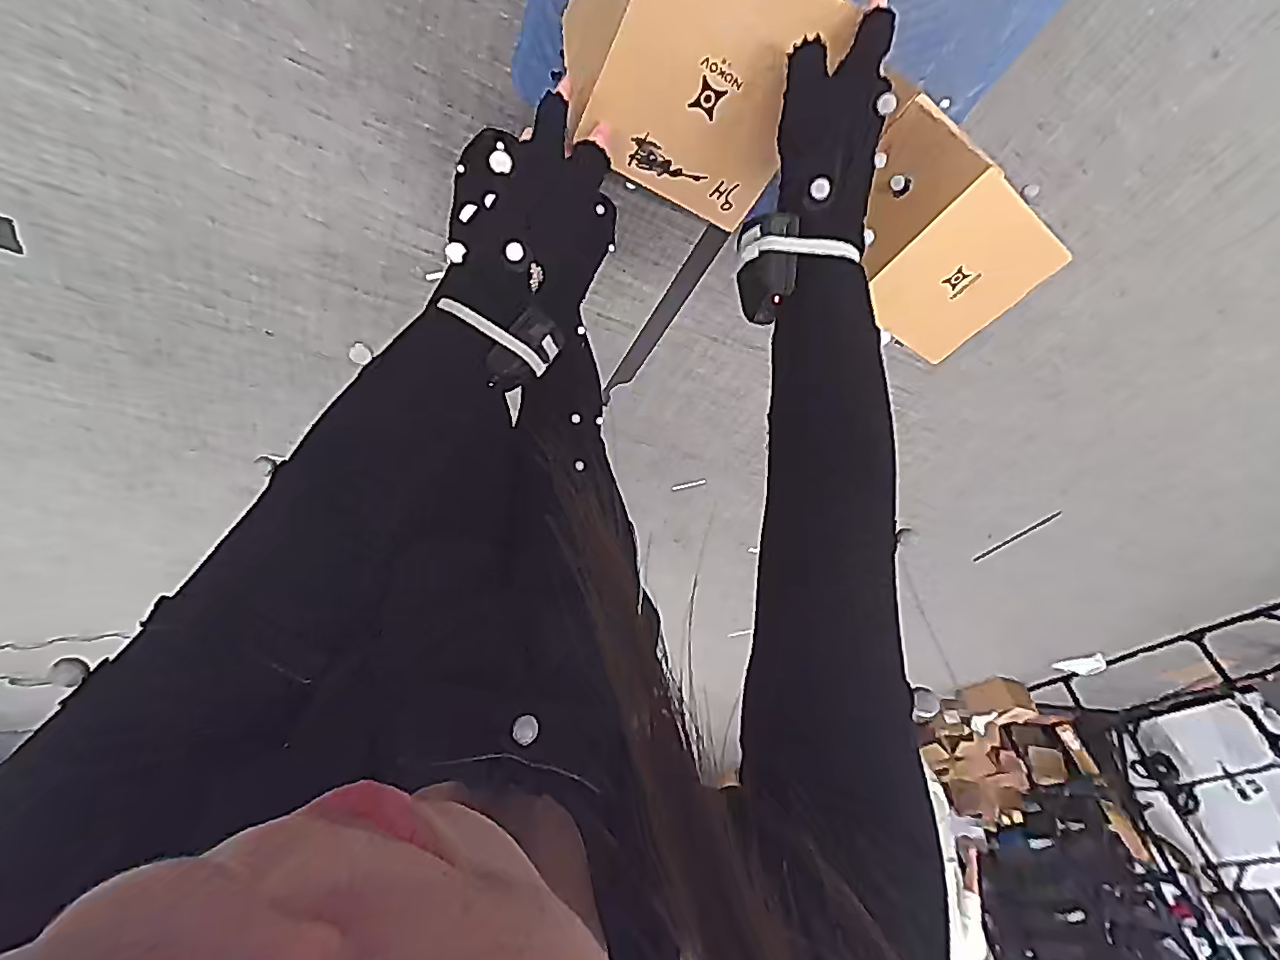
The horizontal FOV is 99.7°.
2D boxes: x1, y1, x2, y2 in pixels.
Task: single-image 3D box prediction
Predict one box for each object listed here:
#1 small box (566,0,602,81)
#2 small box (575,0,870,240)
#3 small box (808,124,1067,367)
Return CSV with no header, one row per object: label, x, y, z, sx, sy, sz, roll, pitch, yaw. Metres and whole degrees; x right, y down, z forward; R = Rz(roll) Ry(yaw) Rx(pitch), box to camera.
small box,0.035,-0.481,0.566,0.179,0.176,0.168,18,136,-28
small box,0.049,-0.354,0.463,0.168,0.176,0.179,15,136,-26
small box,0.326,-0.270,0.623,0.179,0.176,0.168,17,136,-30
